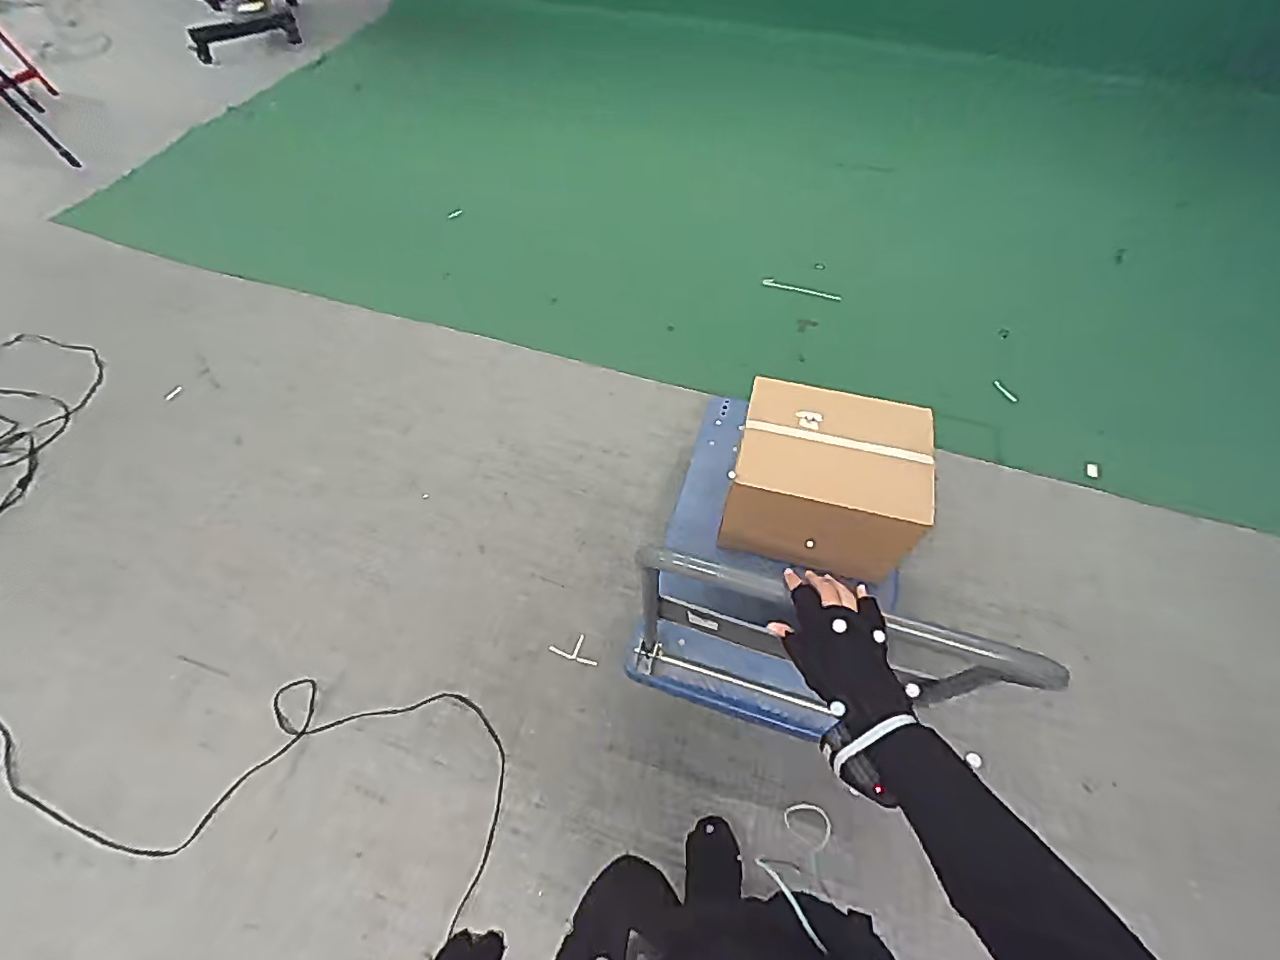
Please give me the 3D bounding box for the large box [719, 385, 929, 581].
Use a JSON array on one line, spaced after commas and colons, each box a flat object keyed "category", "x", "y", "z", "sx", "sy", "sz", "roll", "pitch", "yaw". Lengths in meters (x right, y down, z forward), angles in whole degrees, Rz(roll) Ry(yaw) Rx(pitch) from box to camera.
[{"category": "large box", "x": 0.430, "y": 0.012, "z": 1.314, "sx": 0.408, "sy": 0.320, "sz": 0.320, "roll": 12, "pitch": 57, "yaw": 10}]
